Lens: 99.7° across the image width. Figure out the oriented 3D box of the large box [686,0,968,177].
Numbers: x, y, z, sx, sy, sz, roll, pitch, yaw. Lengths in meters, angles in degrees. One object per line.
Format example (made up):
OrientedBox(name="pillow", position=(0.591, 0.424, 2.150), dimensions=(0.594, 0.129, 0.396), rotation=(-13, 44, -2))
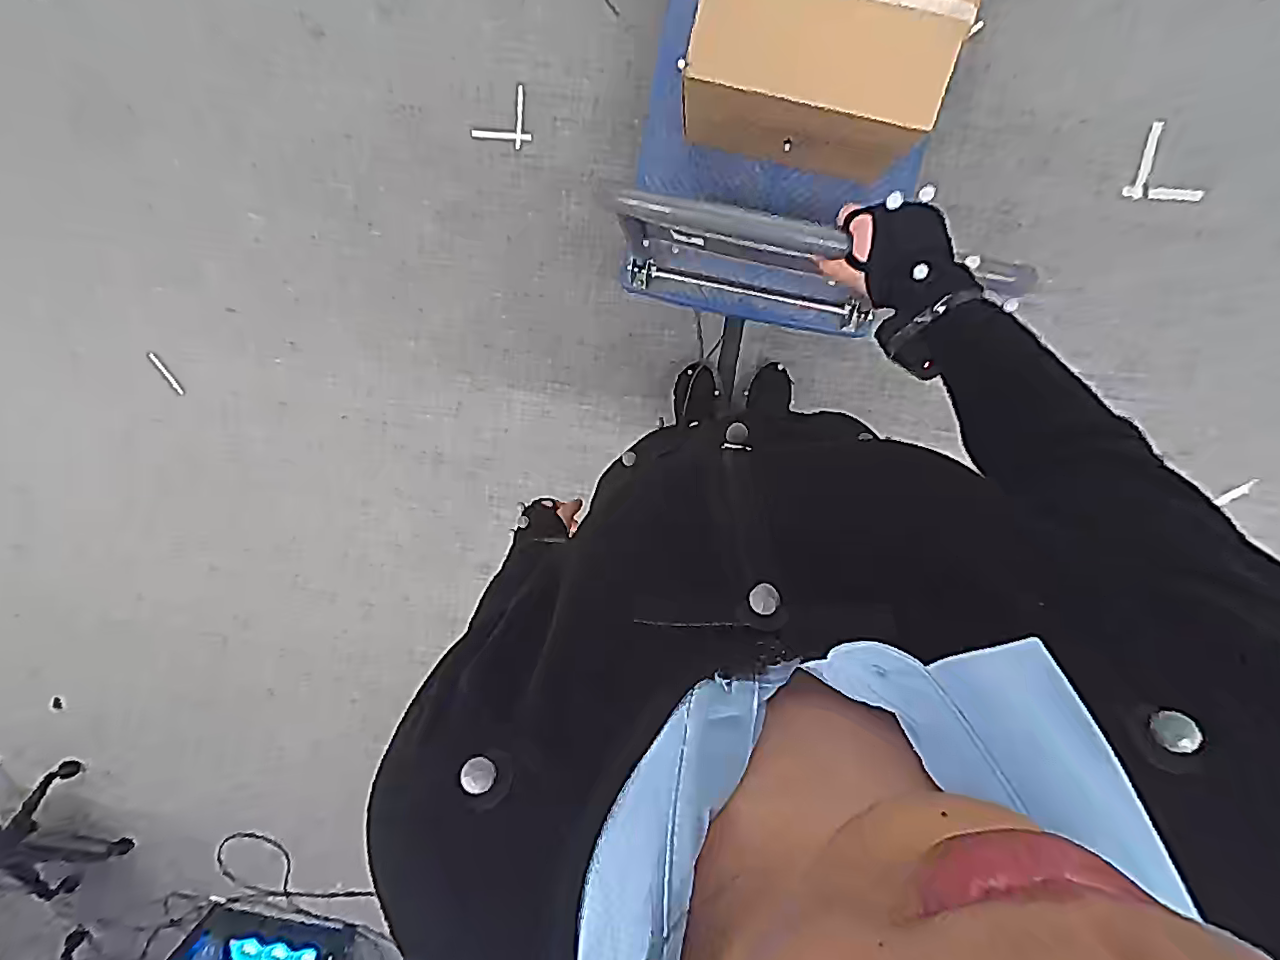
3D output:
OrientedBox(name="large box", position=(0.315, -0.786, 0.970), dimensions=(0.408, 0.320, 0.320), rotation=(14, 105, 2))
